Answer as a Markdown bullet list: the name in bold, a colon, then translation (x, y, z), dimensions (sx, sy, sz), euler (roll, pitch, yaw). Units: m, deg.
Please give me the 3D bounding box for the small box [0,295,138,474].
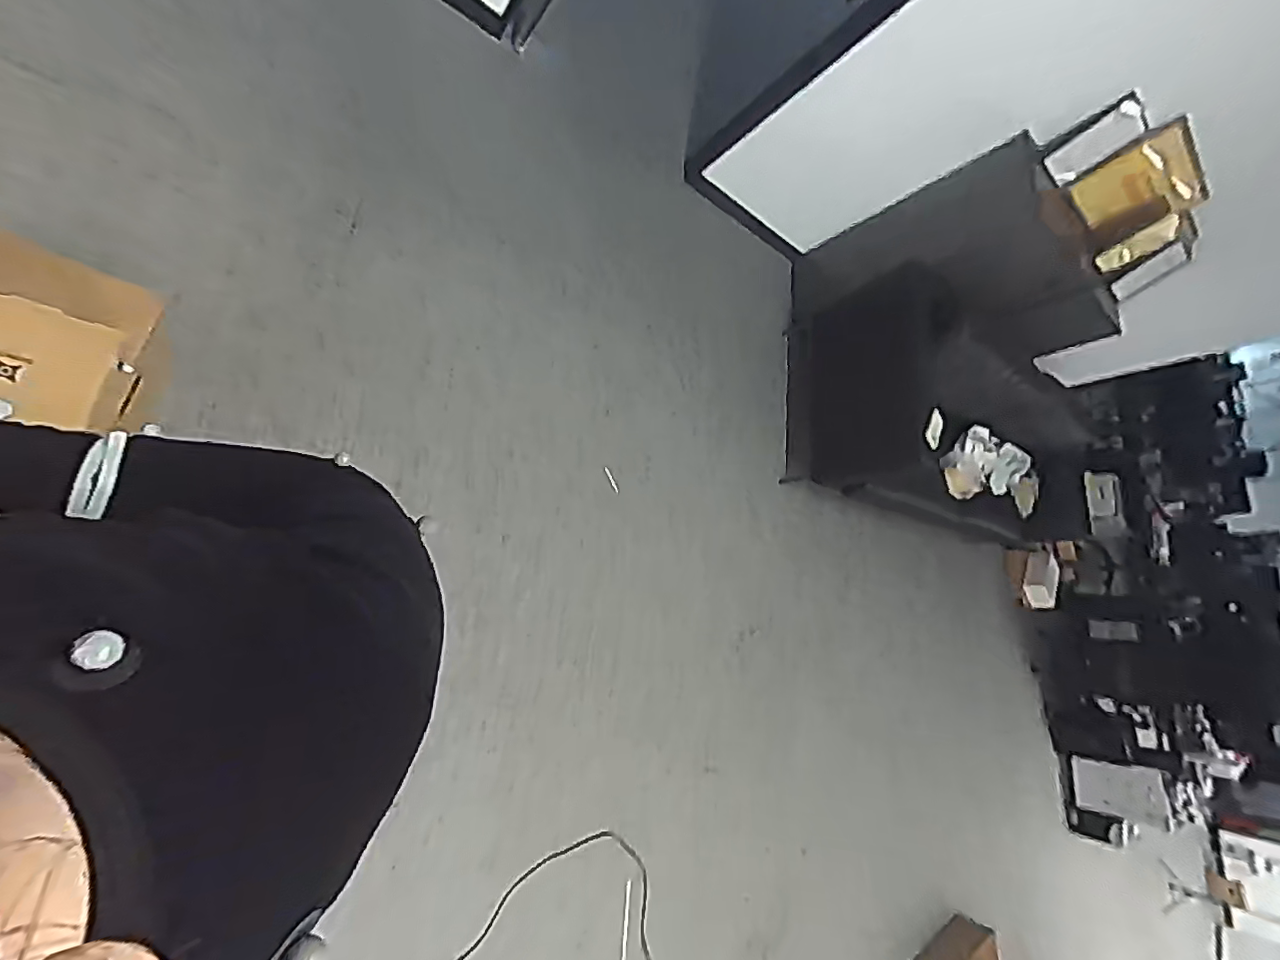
- **small box**: translation (-0.793, -0.117, 0.706), dimensions (0.168, 0.176, 0.179), euler (19, 70, -36)
